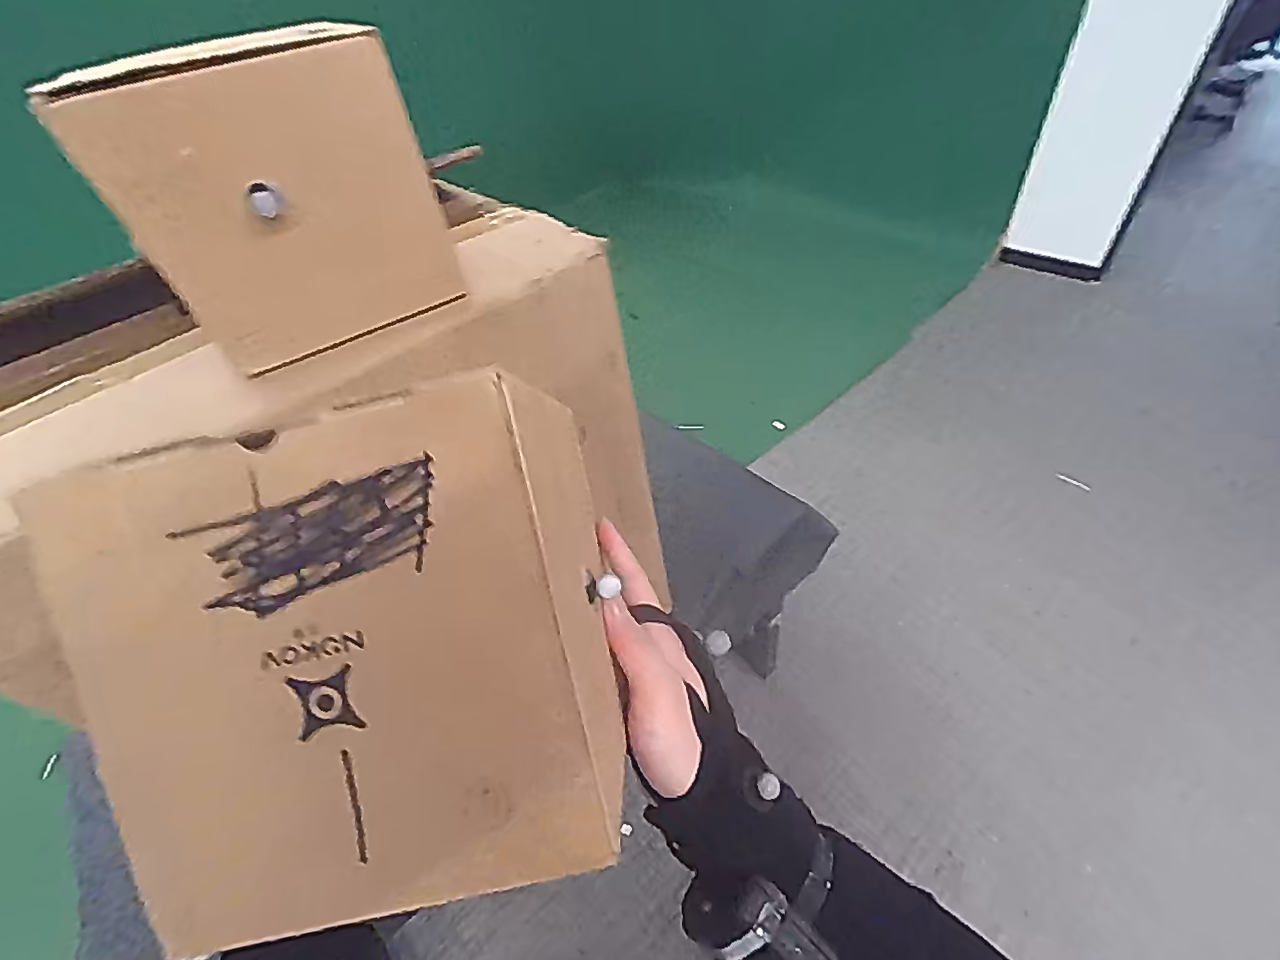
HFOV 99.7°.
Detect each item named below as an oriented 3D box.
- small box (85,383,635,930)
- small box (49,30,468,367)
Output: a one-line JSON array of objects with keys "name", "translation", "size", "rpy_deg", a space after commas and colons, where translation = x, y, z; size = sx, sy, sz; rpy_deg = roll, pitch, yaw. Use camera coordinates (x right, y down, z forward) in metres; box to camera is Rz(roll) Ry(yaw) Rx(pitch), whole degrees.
[{"name": "small box", "translation": [-0.099, 0.062, 0.273], "size": [0.168, 0.179, 0.176], "rpy_deg": [-12, 3, 2]}, {"name": "small box", "translation": [-0.260, -0.211, 0.405], "size": [0.179, 0.176, 0.168], "rpy_deg": [-30, 49, -18]}]
